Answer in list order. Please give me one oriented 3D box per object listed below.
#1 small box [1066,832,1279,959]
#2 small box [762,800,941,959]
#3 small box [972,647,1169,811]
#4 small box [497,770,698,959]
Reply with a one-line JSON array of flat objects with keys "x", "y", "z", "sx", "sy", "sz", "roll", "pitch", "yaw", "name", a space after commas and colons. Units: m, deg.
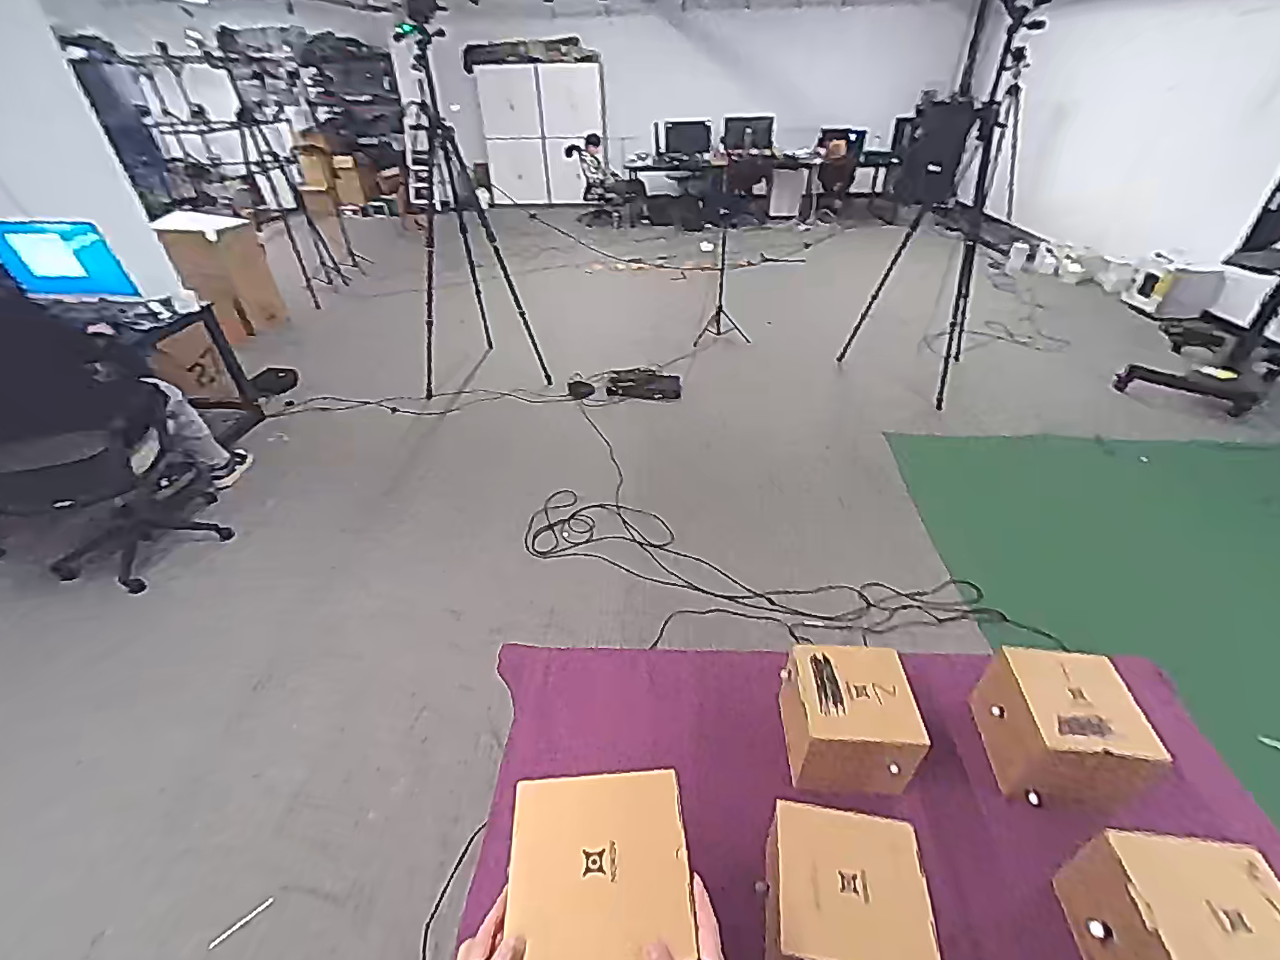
[{"x": 0.664, "y": 0.563, "z": 0.655, "sx": 0.179, "sy": 0.176, "sz": 0.168, "roll": 3, "pitch": 36, "yaw": 8, "name": "small box"}, {"x": 0.256, "y": 0.548, "z": 0.693, "sx": 0.179, "sy": 0.176, "sz": 0.168, "roll": 5, "pitch": 36, "yaw": 10, "name": "small box"}, {"x": 0.673, "y": 0.402, "z": 0.874, "sx": 0.168, "sy": 0.176, "sz": 0.179, "roll": 5, "pitch": 36, "yaw": 8, "name": "small box"}, {"x": -0.040, "y": 0.432, "z": 0.570, "sx": 0.179, "sy": 0.176, "sz": 0.168, "roll": -1, "pitch": 37, "yaw": -4, "name": "small box"}]
